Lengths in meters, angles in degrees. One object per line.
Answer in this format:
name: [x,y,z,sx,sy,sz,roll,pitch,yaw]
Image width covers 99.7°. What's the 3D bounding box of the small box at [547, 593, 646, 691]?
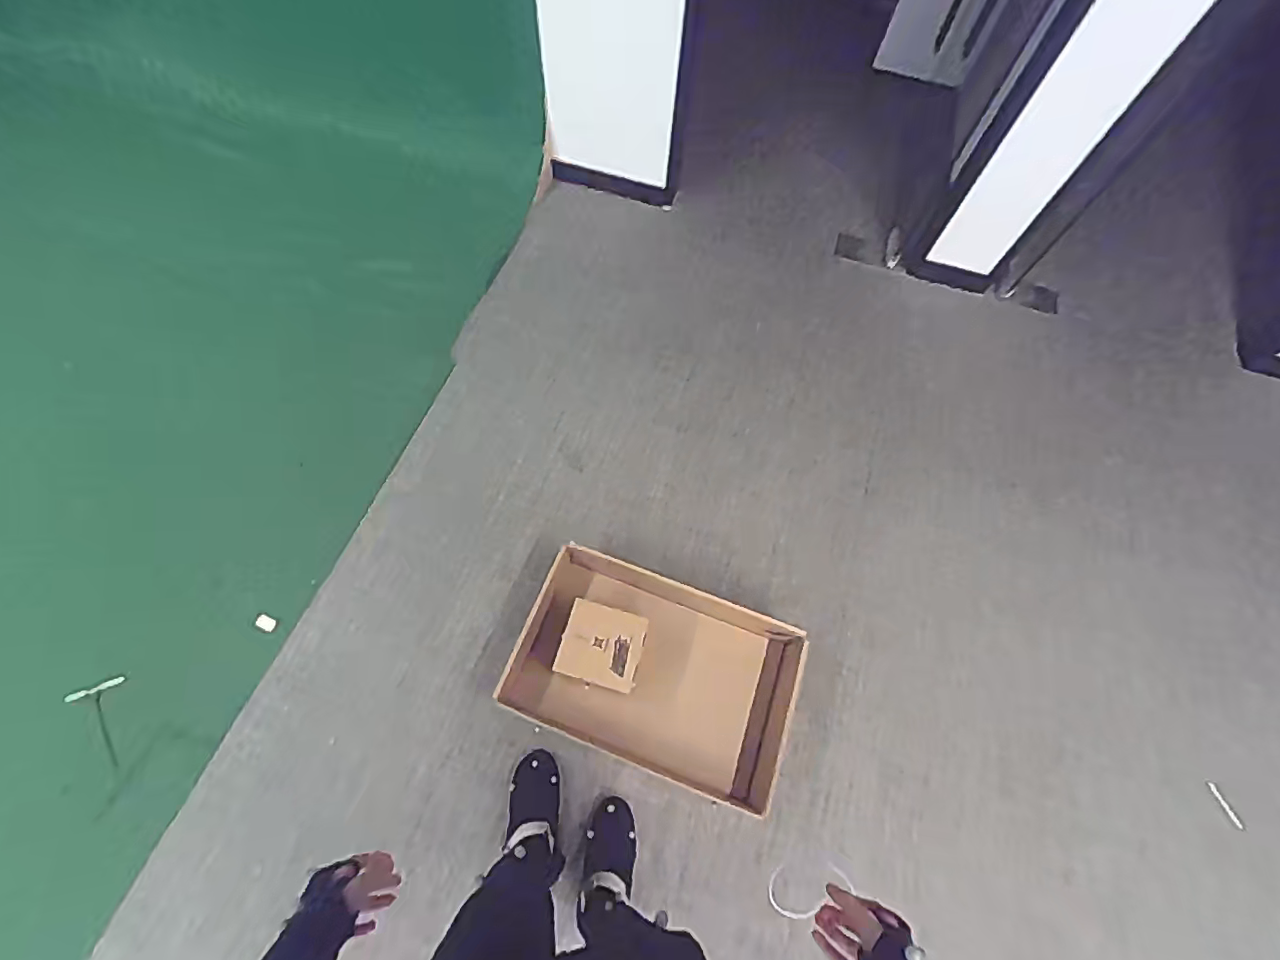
small box: [-0.093,0.382,1.252,0.179,0.176,0.168,16,66,8]
